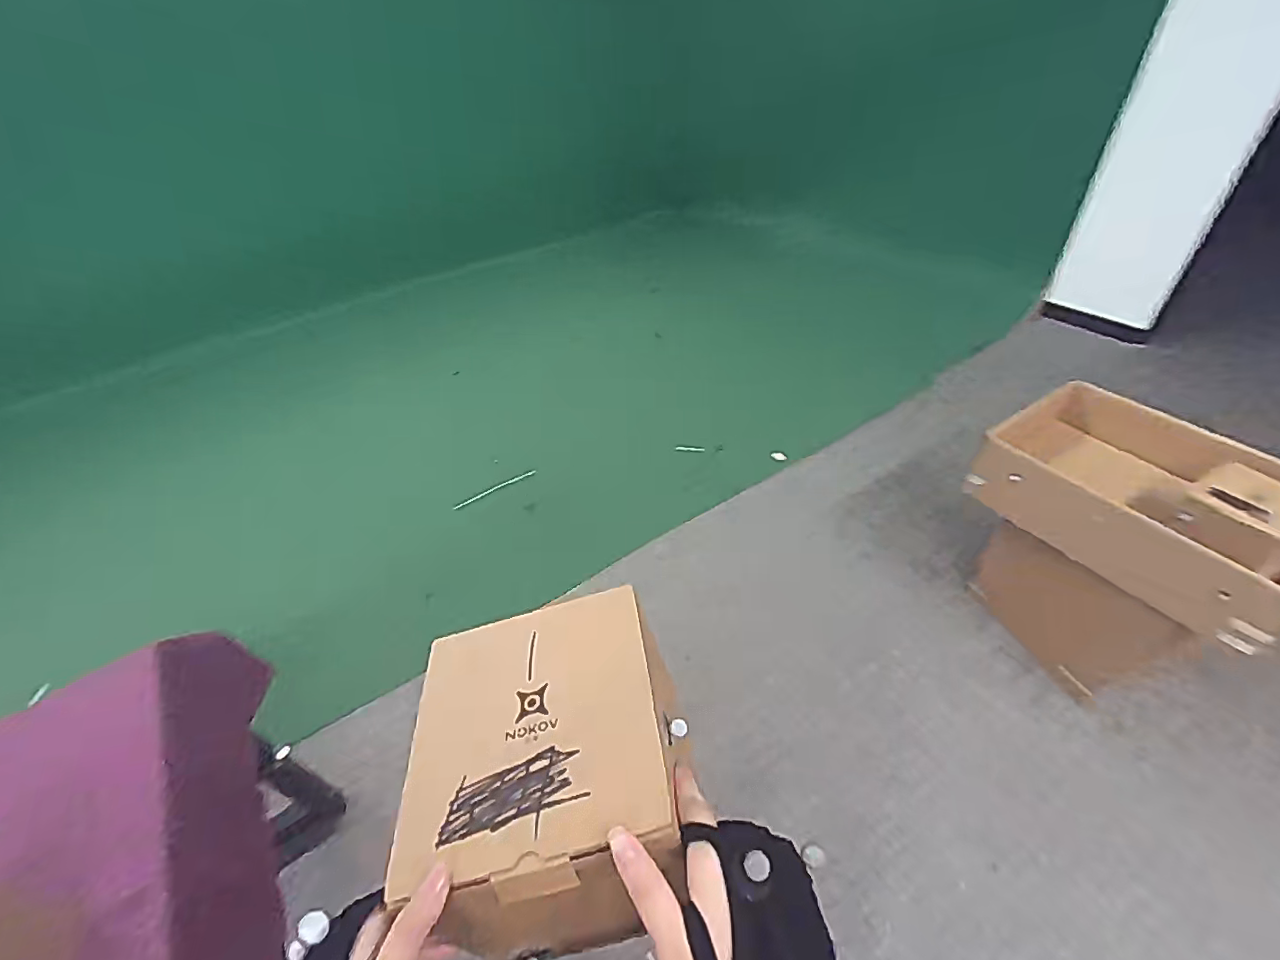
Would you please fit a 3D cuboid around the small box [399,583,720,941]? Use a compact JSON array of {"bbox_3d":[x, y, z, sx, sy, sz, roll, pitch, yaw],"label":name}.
[{"bbox_3d":[-0.046,0.214,0.410,0.168,0.176,0.179,-16,36,3],"label":"small box"}]
